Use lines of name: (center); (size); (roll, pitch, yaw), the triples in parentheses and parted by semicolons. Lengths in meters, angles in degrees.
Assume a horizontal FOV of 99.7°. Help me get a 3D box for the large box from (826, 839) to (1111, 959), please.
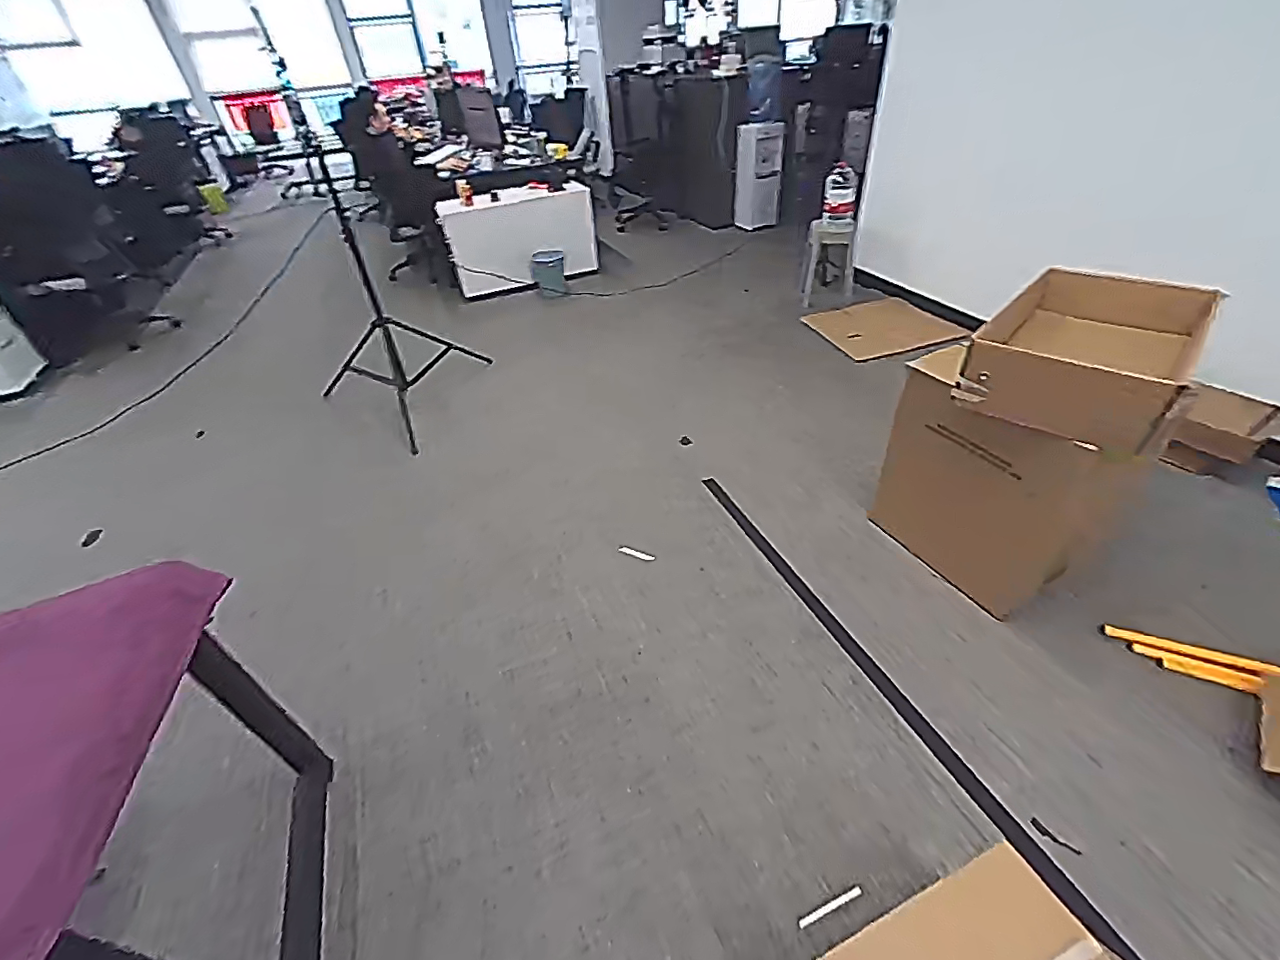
large box: (0.520, 0.871, 0.855); (0.408, 0.320, 0.320); (-19, 41, -15)
